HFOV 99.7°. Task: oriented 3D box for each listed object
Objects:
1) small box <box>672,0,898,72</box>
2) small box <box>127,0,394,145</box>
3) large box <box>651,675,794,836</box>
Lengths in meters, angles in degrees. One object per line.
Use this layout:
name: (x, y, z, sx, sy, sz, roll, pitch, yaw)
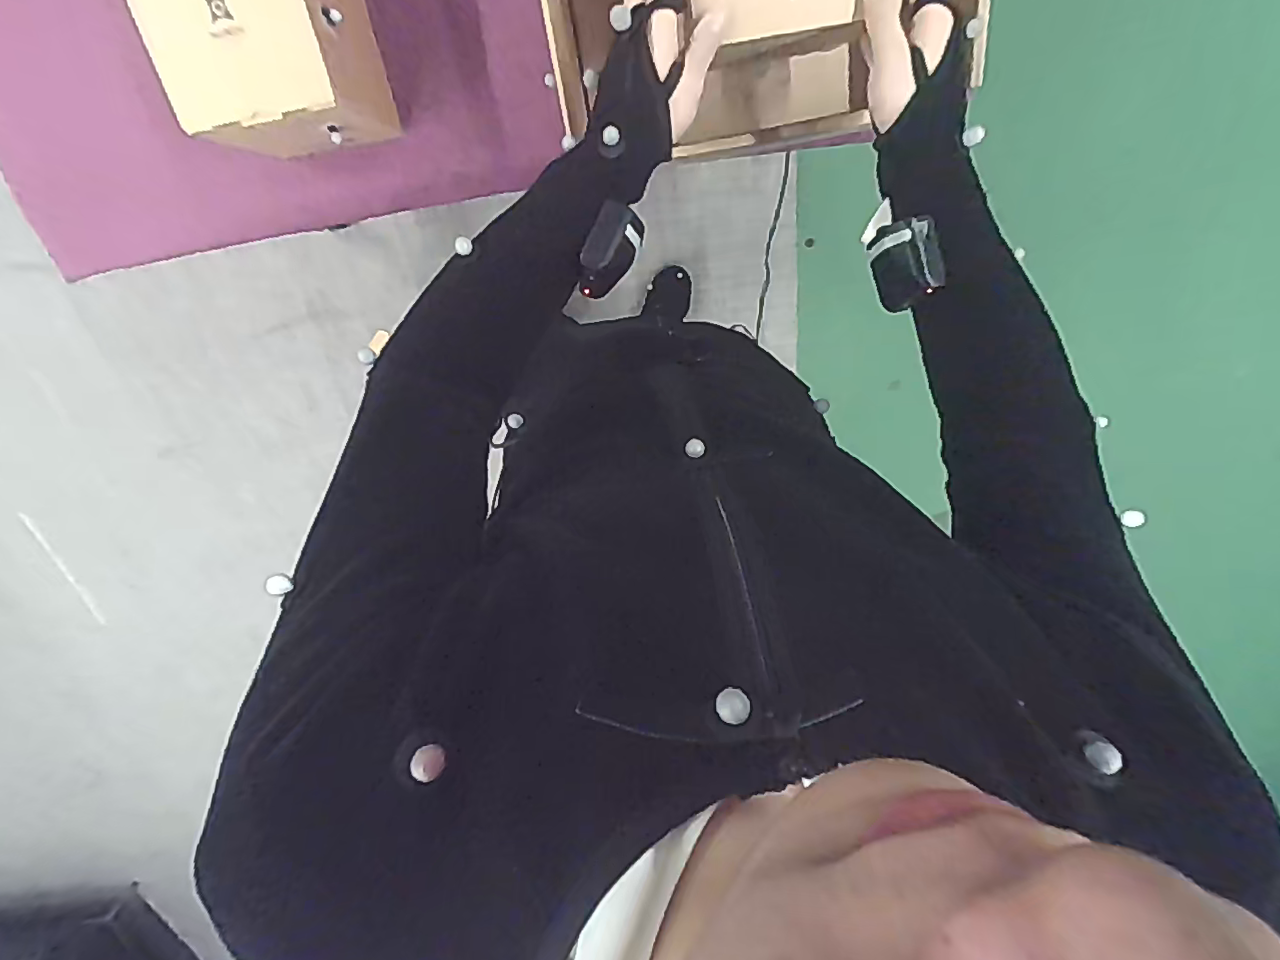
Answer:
small box: (0.109, -0.473, 0.455, 0.168, 0.176, 0.179, -7, 121, 4)
small box: (-0.395, -0.475, 0.579, 0.168, 0.176, 0.179, -8, 113, 3)
large box: (0.287, 1.014, 2.004, 0.408, 0.320, 0.320, -39, 110, 15)
